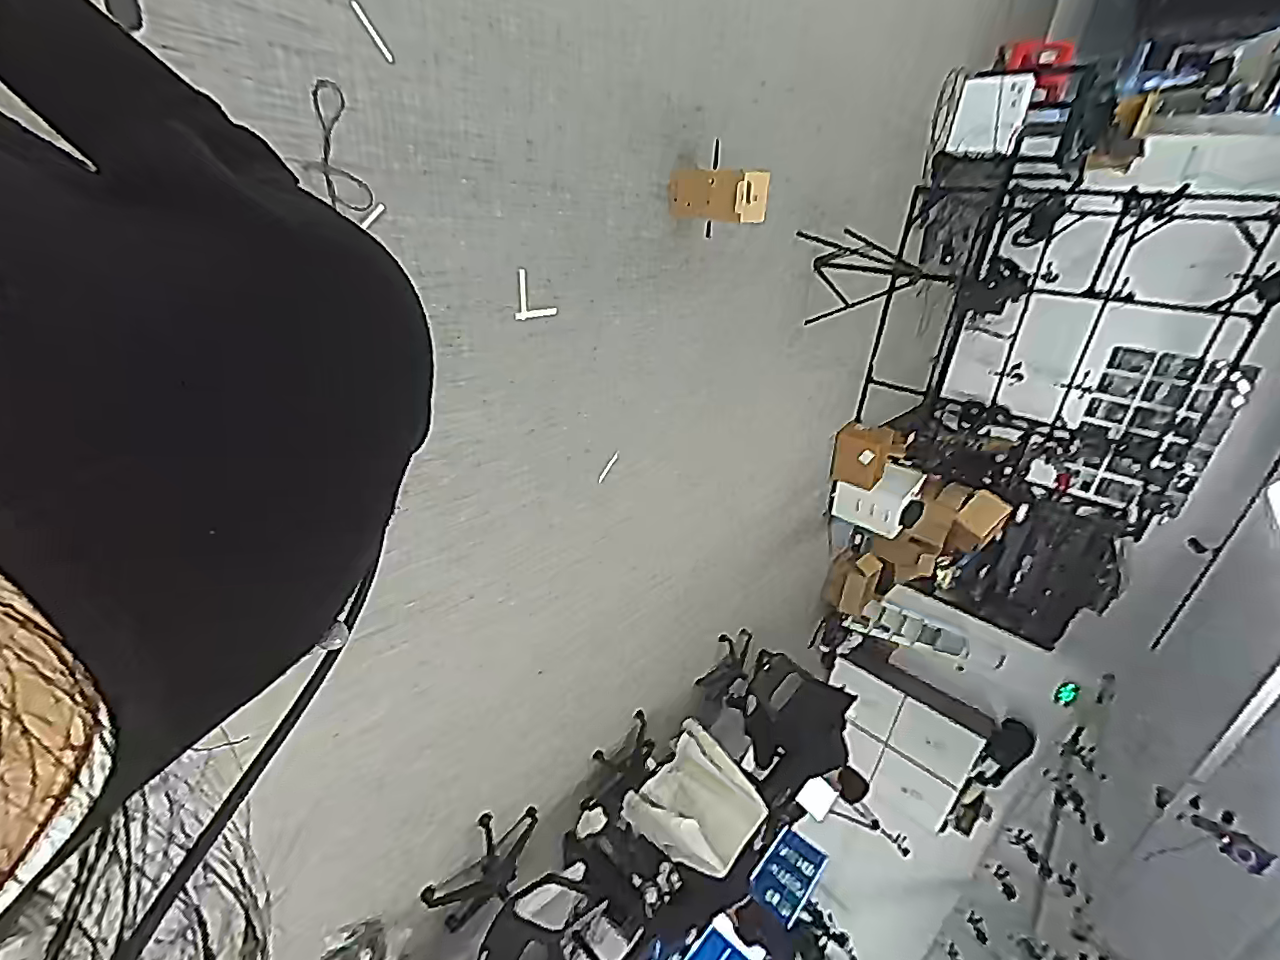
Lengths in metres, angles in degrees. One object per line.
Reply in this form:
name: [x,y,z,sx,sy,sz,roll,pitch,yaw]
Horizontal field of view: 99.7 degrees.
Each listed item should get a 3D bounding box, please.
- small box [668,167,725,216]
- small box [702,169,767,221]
small box: [0.226,-1.124,2.108,0.179,0.176,0.168,-28,132,-41]
small box: [0.347,-1.062,2.015,0.179,0.176,0.168,-27,130,-41]
